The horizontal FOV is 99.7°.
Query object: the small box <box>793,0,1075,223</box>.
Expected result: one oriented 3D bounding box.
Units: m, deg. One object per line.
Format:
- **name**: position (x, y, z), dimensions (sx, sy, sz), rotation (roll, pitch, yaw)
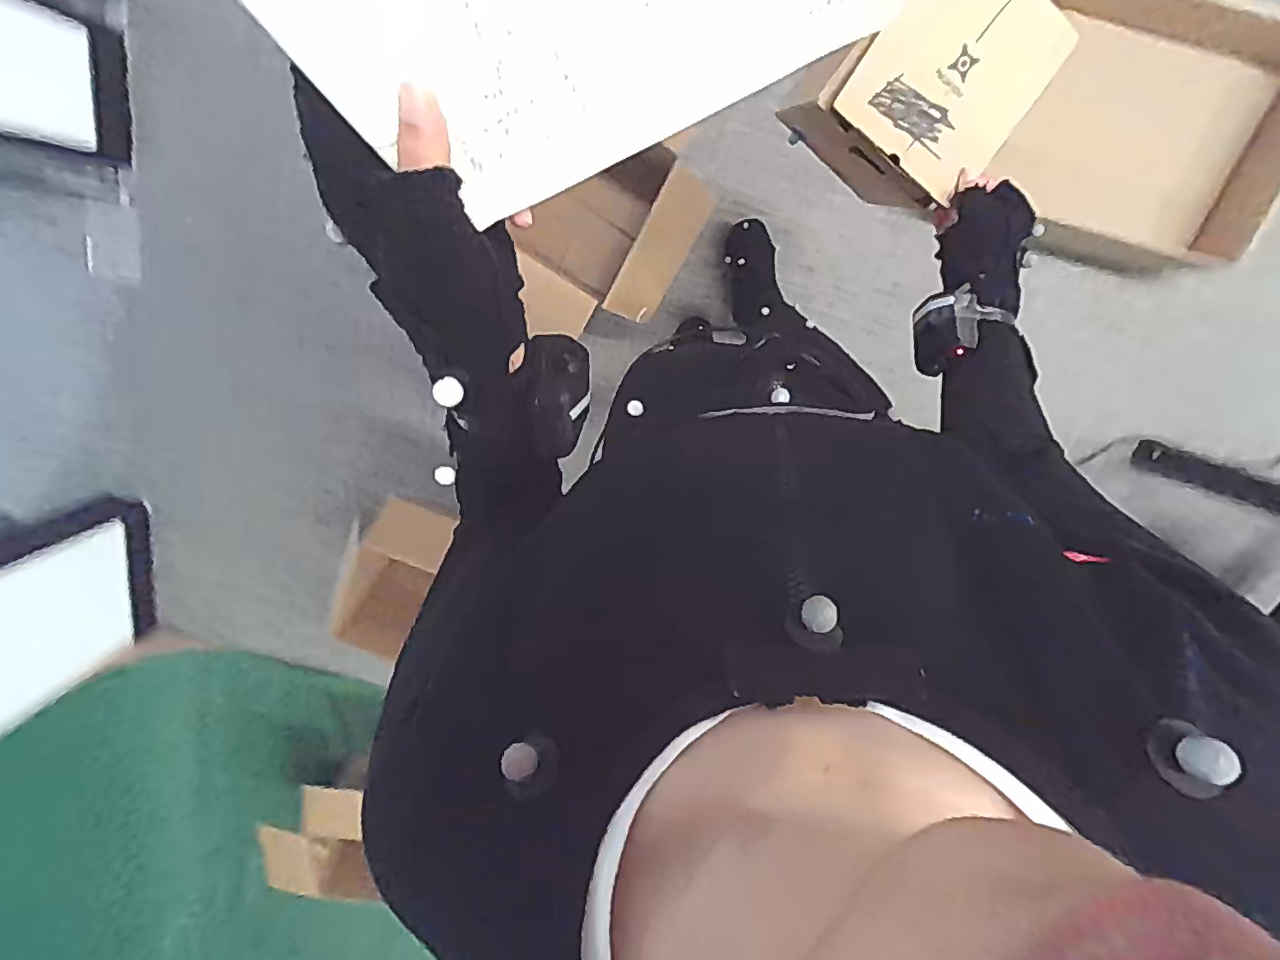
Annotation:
- **small box**: position (0.286, -0.407, 0.574), dimensions (0.168, 0.176, 0.179), rotation (33, 114, -20)
